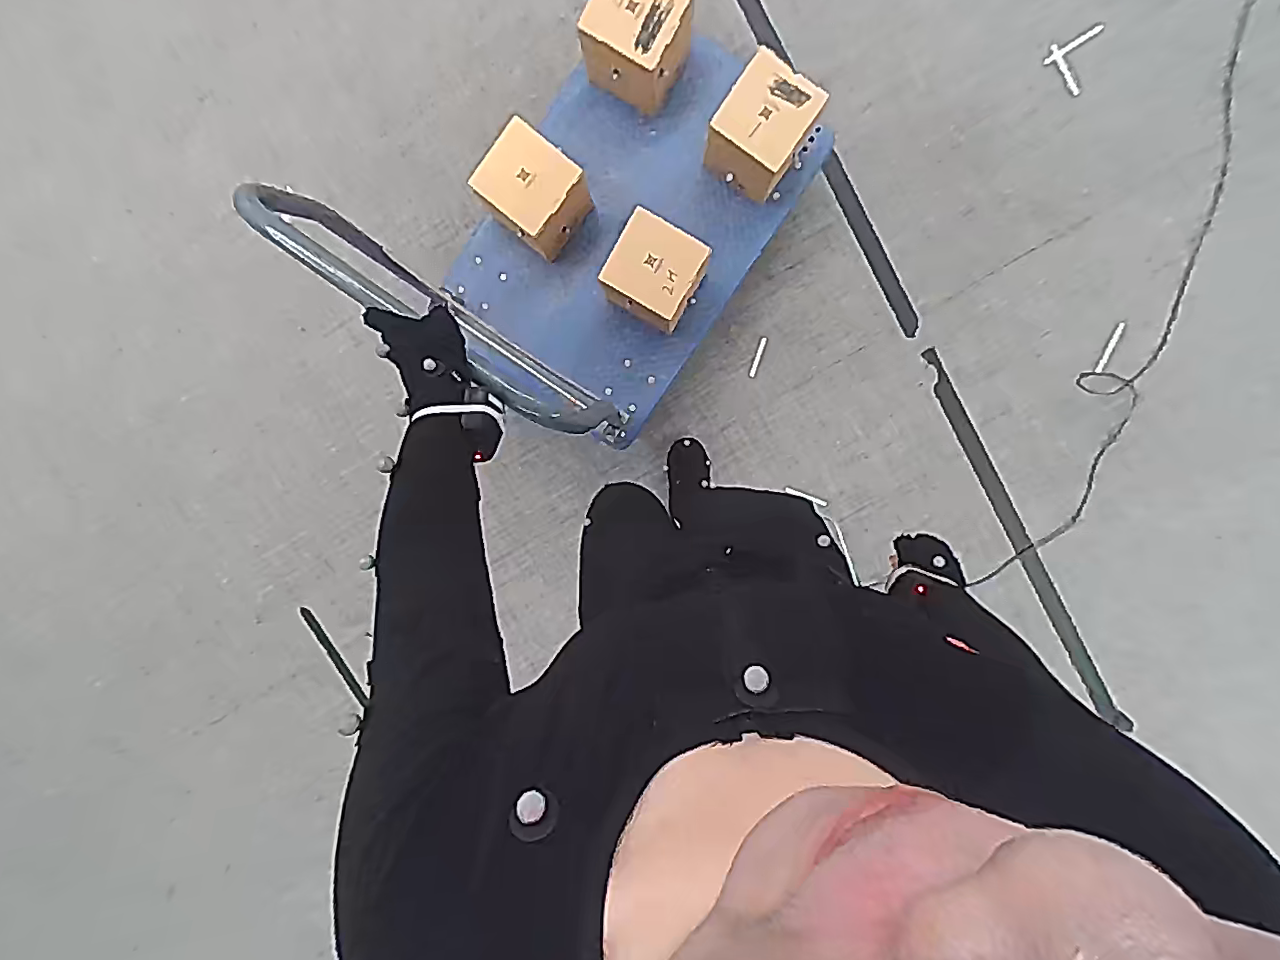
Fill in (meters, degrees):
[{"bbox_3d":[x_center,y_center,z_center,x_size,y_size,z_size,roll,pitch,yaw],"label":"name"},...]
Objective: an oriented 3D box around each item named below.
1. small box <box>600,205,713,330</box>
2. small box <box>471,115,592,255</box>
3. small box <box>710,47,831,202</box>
[{"bbox_3d":[0.035,-0.444,1.164,0.179,0.176,0.168,31,96,-1],"label":"small box"},{"bbox_3d":[-0.222,-0.616,1.159,0.179,0.176,0.168,38,96,-4],"label":"small box"},{"bbox_3d":[0.258,-0.726,1.127,0.168,0.176,0.179,36,97,-2],"label":"small box"}]
